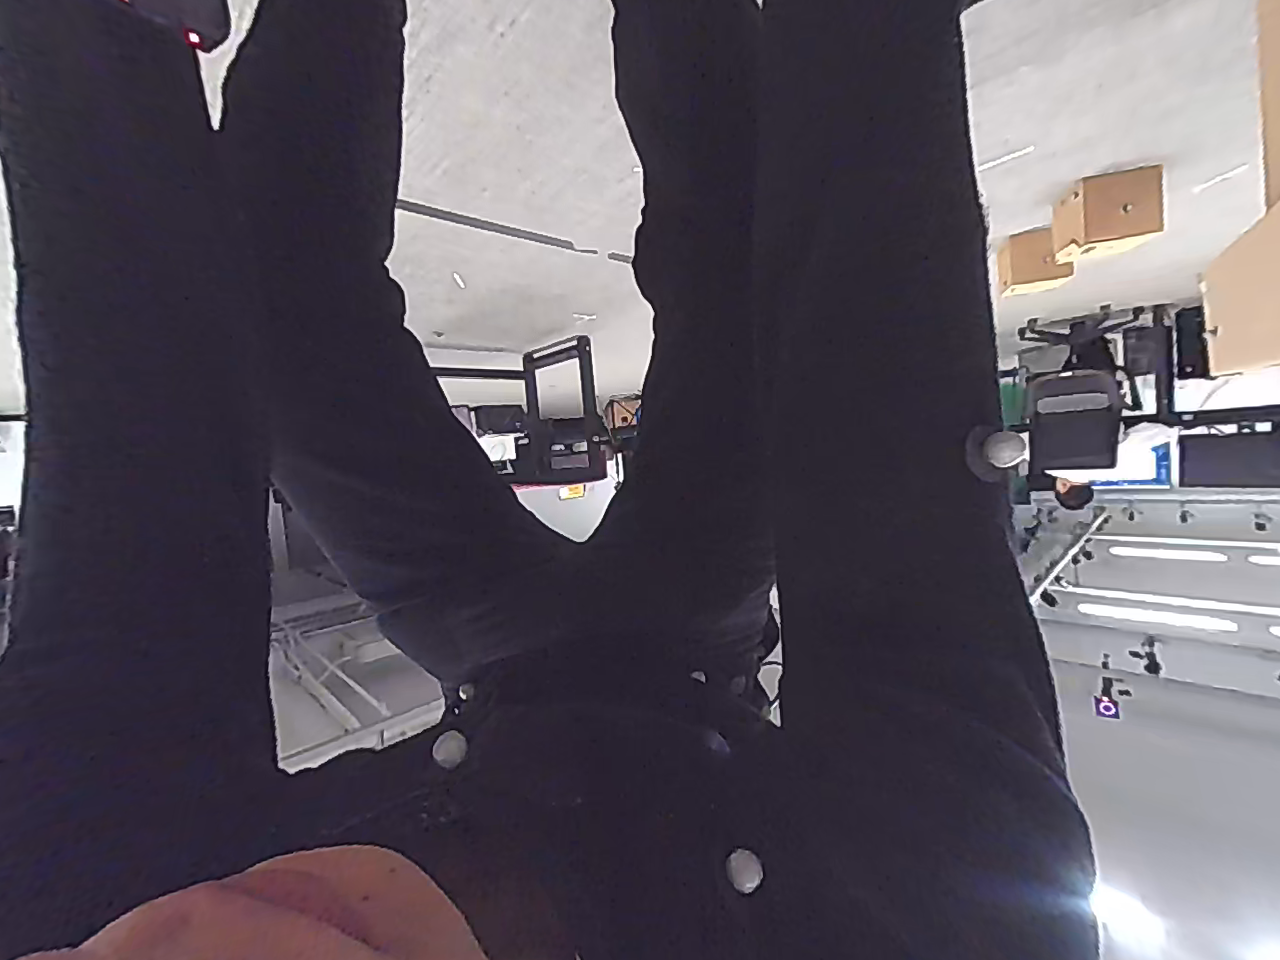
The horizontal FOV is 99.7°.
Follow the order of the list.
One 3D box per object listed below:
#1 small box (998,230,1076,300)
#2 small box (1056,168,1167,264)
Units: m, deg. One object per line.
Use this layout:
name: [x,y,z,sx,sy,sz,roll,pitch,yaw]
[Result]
small box: [1.347,-0.733,1.842,0.179,0.176,0.168,-5,-178,22]
small box: [1.258,-0.706,1.457,0.179,0.176,0.168,-5,-177,15]
